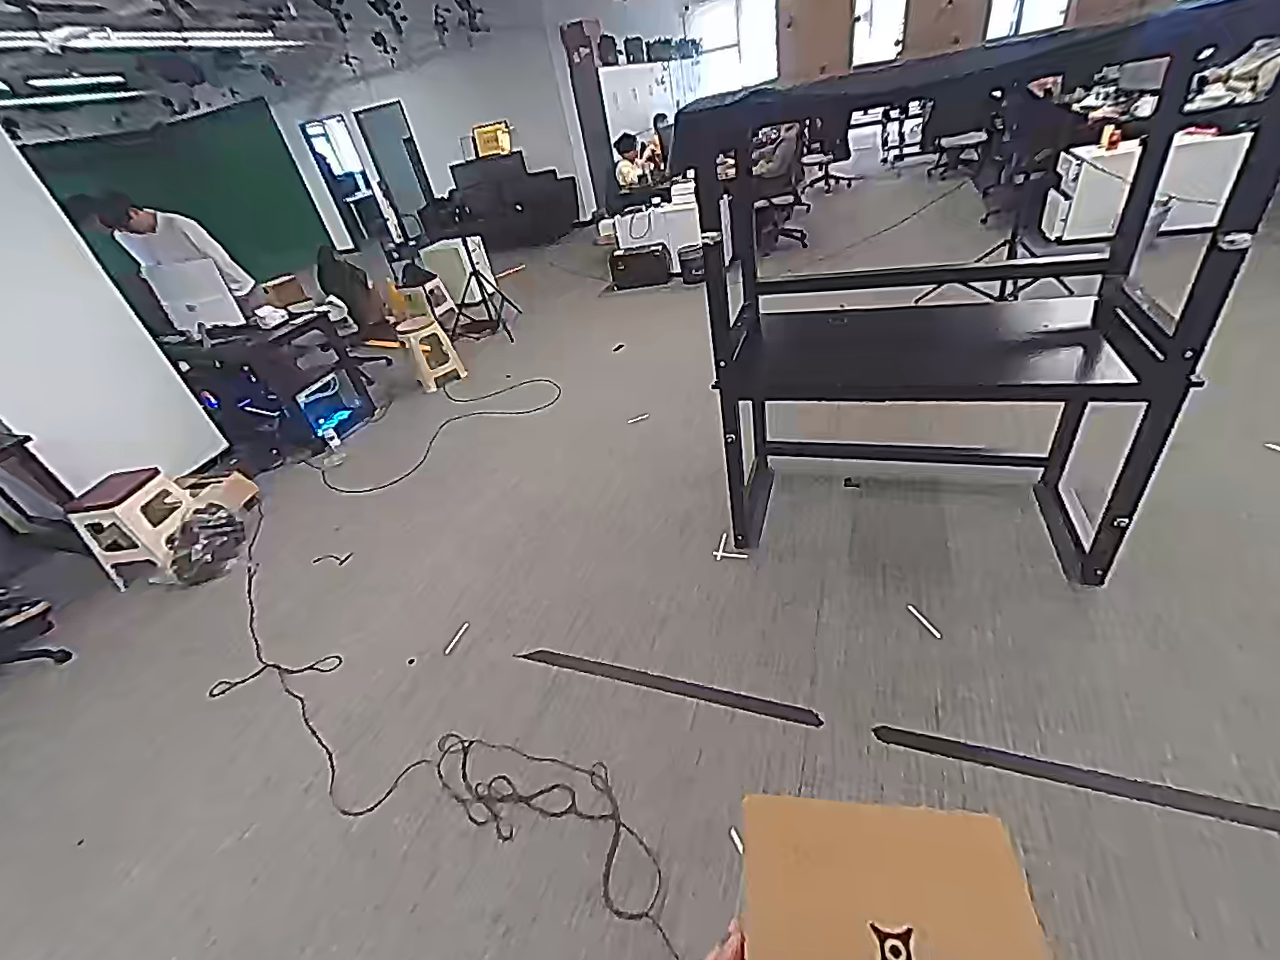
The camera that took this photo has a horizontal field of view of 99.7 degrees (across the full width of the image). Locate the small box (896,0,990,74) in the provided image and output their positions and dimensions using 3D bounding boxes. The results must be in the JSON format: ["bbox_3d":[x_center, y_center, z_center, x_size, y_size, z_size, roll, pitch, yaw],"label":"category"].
[{"bbox_3d":[0.660,-1.006,1.182,0.168,0.176,0.179,5,37,21],"label":"small box"}]

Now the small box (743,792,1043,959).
[{"bbox_3d":[0.151,0.339,0.351,0.168,0.176,0.179,-1,36,11],"label":"small box"}]

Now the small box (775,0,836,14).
[{"bbox_3d":[0.386,-1.155,1.190,0.168,0.176,0.179,3,37,22],"label":"small box"}]

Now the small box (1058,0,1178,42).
[{"bbox_3d":[0.950,-0.983,1.063,0.168,0.176,0.179,7,39,26],"label":"small box"}]
